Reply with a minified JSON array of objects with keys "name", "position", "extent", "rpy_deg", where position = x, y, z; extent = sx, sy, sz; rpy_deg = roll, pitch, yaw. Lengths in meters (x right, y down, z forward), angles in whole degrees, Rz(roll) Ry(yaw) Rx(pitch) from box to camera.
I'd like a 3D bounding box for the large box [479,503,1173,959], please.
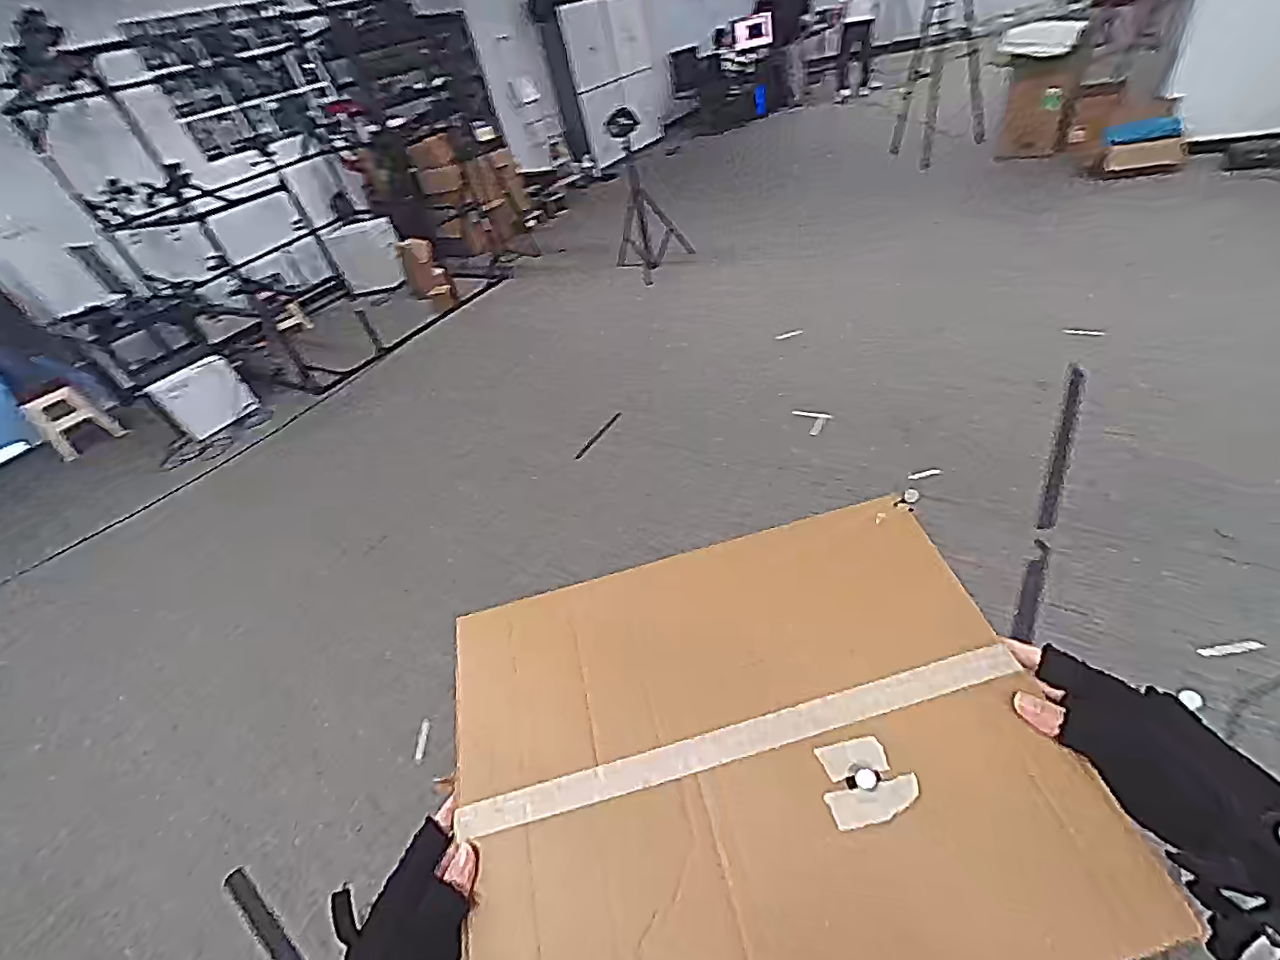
[{"name":"large box","position":[0.101,0.279,0.507],"extent":[0.408,0.320,0.320],"rpy_deg":[-15,52,-2]}]
